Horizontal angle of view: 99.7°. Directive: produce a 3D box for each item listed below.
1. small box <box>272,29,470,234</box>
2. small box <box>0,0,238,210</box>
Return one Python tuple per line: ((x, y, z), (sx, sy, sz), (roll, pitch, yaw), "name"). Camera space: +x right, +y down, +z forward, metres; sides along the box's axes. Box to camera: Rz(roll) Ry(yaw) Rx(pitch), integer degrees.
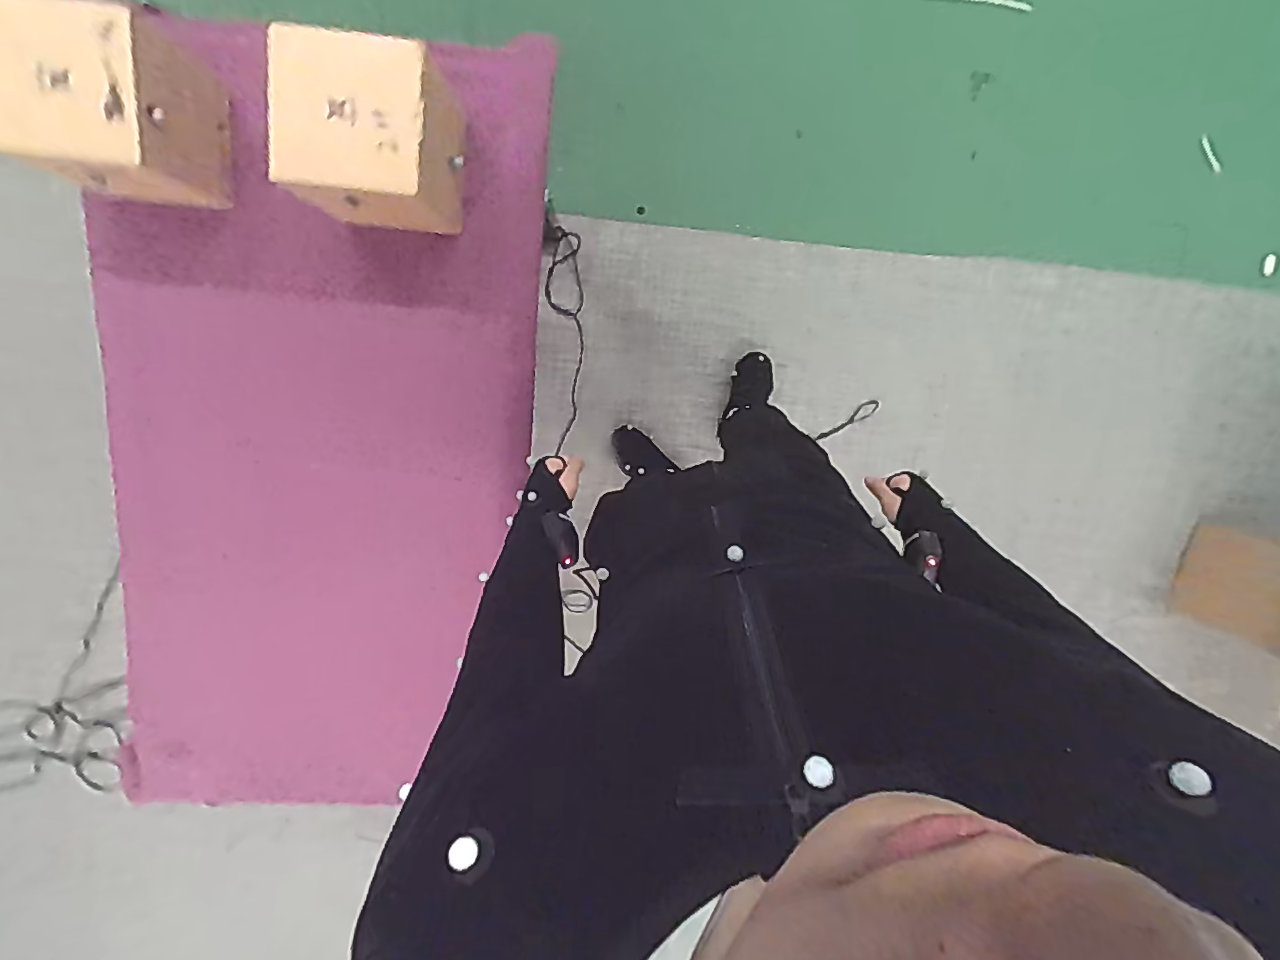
((-0.339, -0.436, 0.706), (0.179, 0.176, 0.168), (6, 100, -2), "small box")
((-0.659, -0.461, 0.689), (0.179, 0.176, 0.168), (4, 101, -4), "small box")
